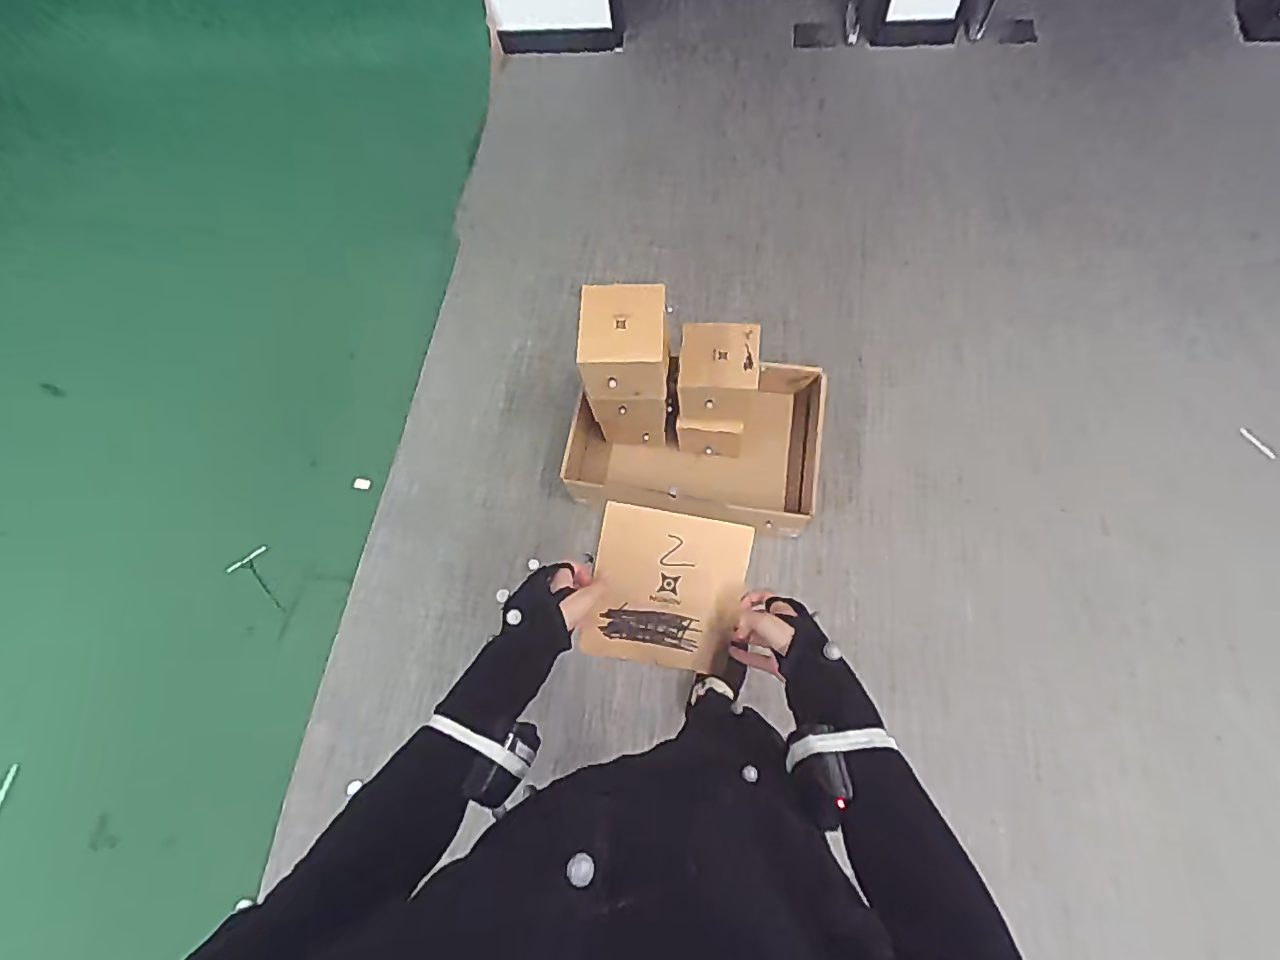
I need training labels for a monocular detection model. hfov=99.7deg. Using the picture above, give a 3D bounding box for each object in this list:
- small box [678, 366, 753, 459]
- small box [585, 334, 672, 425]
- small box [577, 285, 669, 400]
[{"bbox_3d":[0.196,-0.171,1.400,0.168,0.176,0.179,7,73,11],"label":"small box"},{"bbox_3d":[-0.018,-0.237,1.275,0.179,0.176,0.168,4,73,8],"label":"small box"},{"bbox_3d":[-0.027,-0.275,1.116,0.168,0.176,0.179,1,72,6],"label":"small box"}]
